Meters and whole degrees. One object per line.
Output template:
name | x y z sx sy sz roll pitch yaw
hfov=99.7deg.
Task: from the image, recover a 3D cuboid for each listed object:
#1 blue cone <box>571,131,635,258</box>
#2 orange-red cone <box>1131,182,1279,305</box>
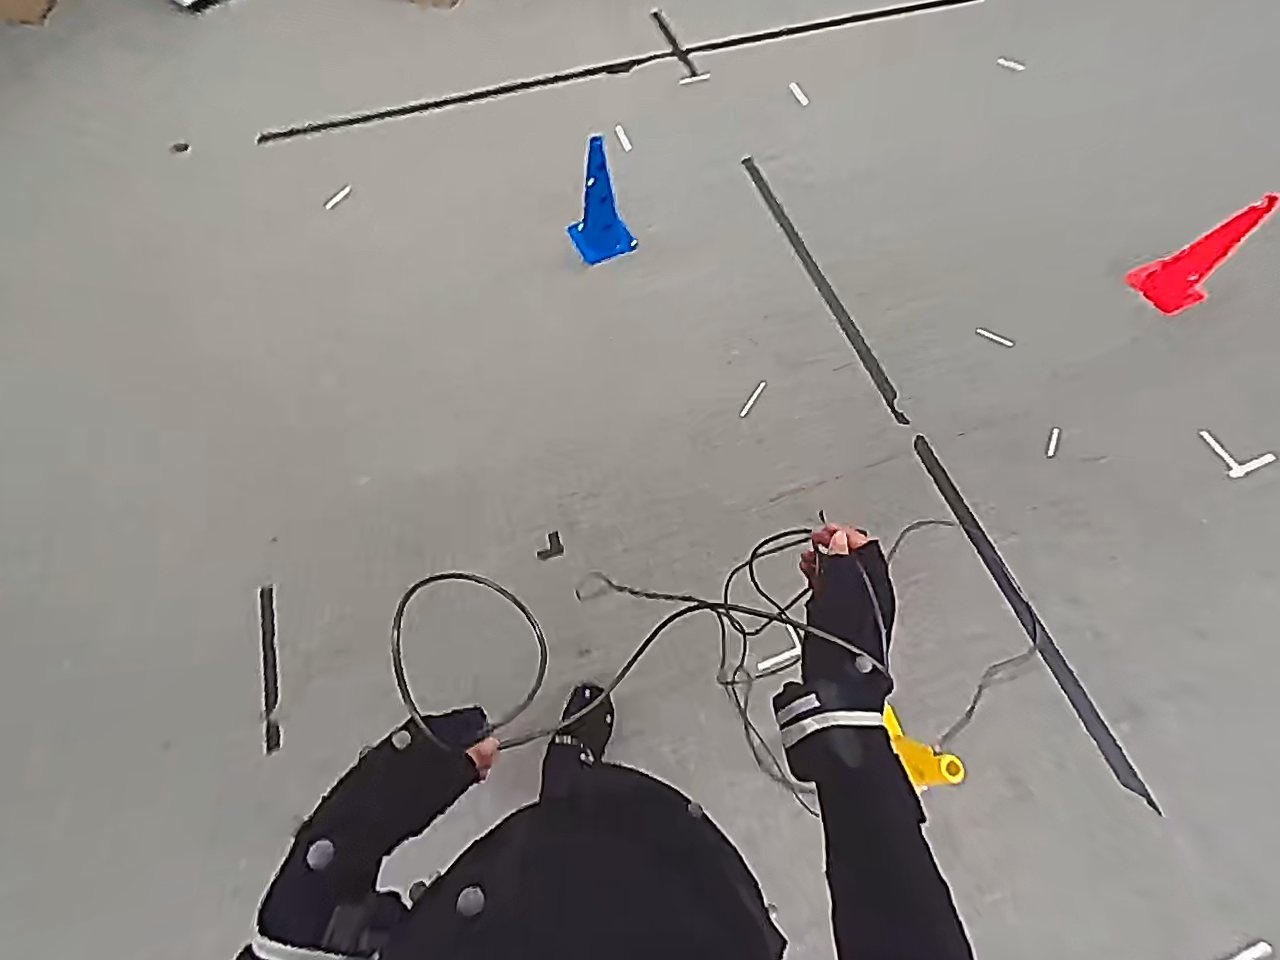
blue cone | -0.132 -0.930 1.747 0.192 0.380 0.193 -23 68 -11
orange-red cone | 1.818 -0.765 1.702 0.198 0.360 0.199 -22 67 -11
